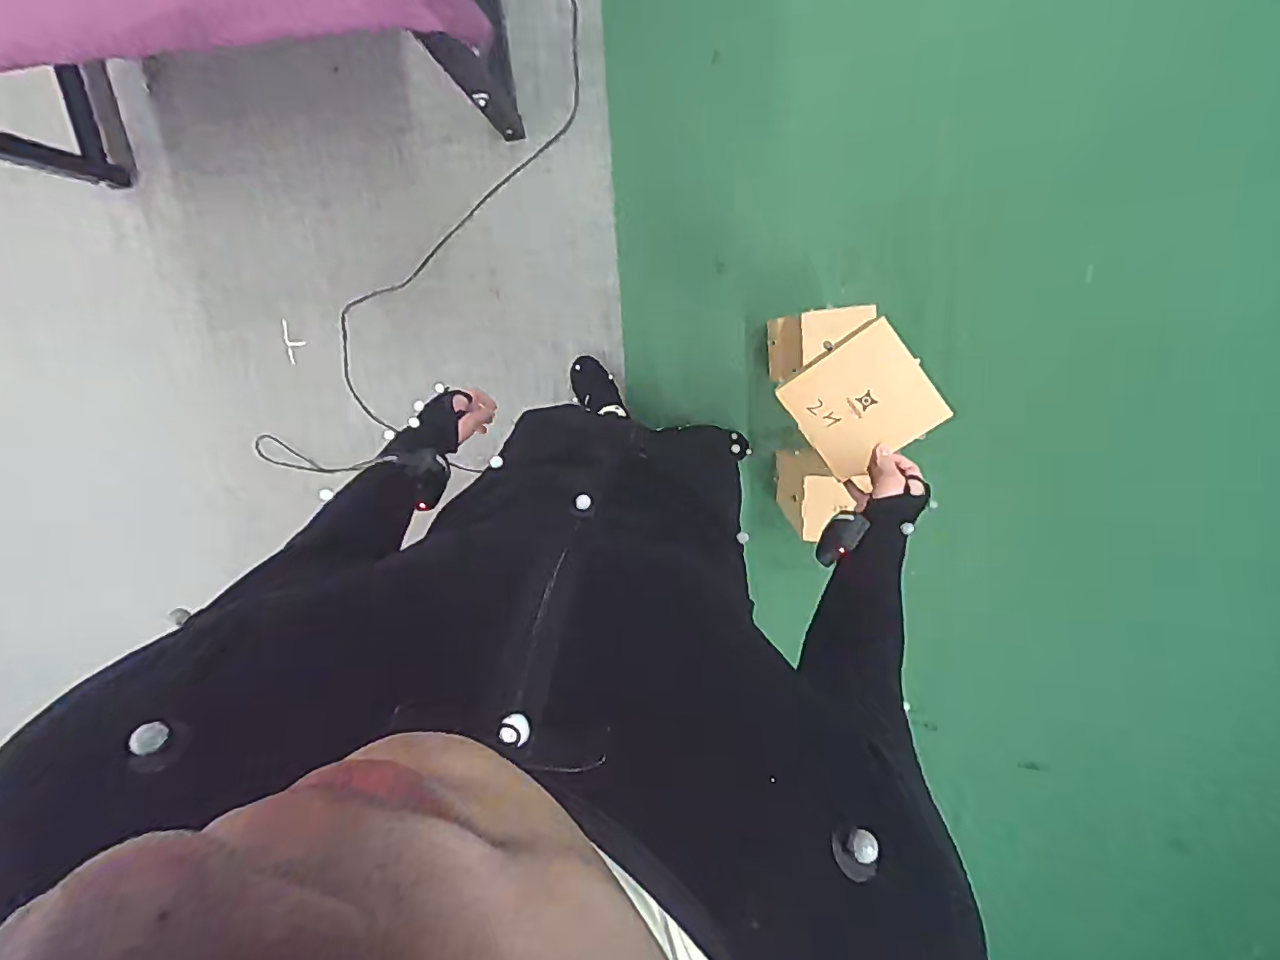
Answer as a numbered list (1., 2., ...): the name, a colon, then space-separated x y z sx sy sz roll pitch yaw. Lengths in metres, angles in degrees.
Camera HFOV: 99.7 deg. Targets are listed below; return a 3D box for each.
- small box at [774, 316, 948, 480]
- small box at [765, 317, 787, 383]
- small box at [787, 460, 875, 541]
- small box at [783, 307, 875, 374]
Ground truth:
1. small box: 0.322 -0.129 0.821 0.179 0.176 0.168 -35 92 22
2. small box: 0.433 -0.349 1.440 0.179 0.176 0.168 -5 104 3
3. small box: 0.474 0.048 1.371 0.179 0.176 0.168 0 106 5
4. small box: 0.442 -0.309 1.282 0.168 0.176 0.179 -5 103 3
